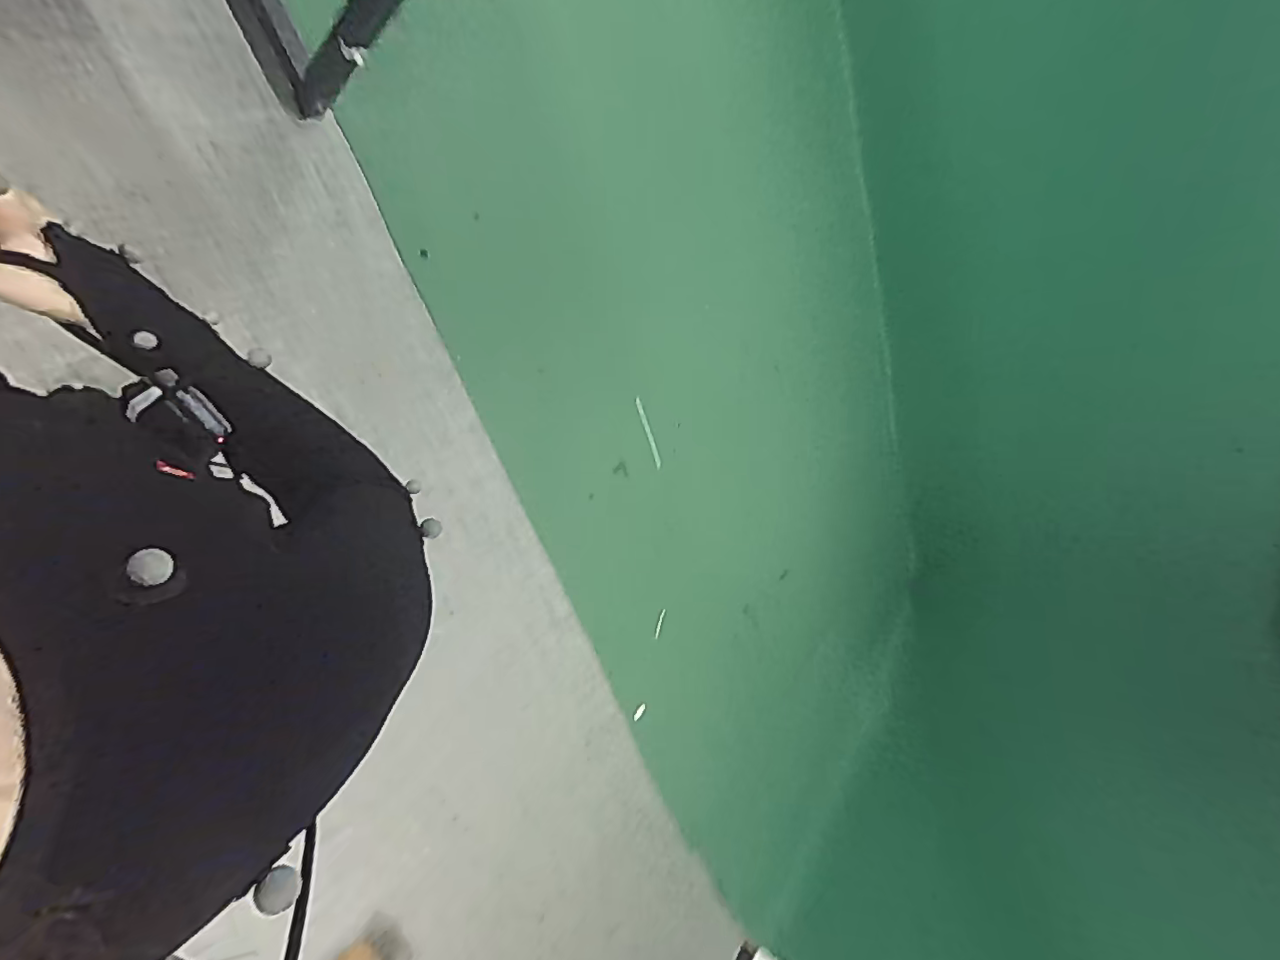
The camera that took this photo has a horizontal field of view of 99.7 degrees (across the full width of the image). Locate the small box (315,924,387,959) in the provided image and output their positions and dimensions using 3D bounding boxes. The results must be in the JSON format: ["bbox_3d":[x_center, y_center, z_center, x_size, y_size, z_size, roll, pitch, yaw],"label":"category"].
[{"bbox_3d":[-0.770,1.359,1.453,0.168,0.176,0.179,-33,116,-40],"label":"small box"}]
